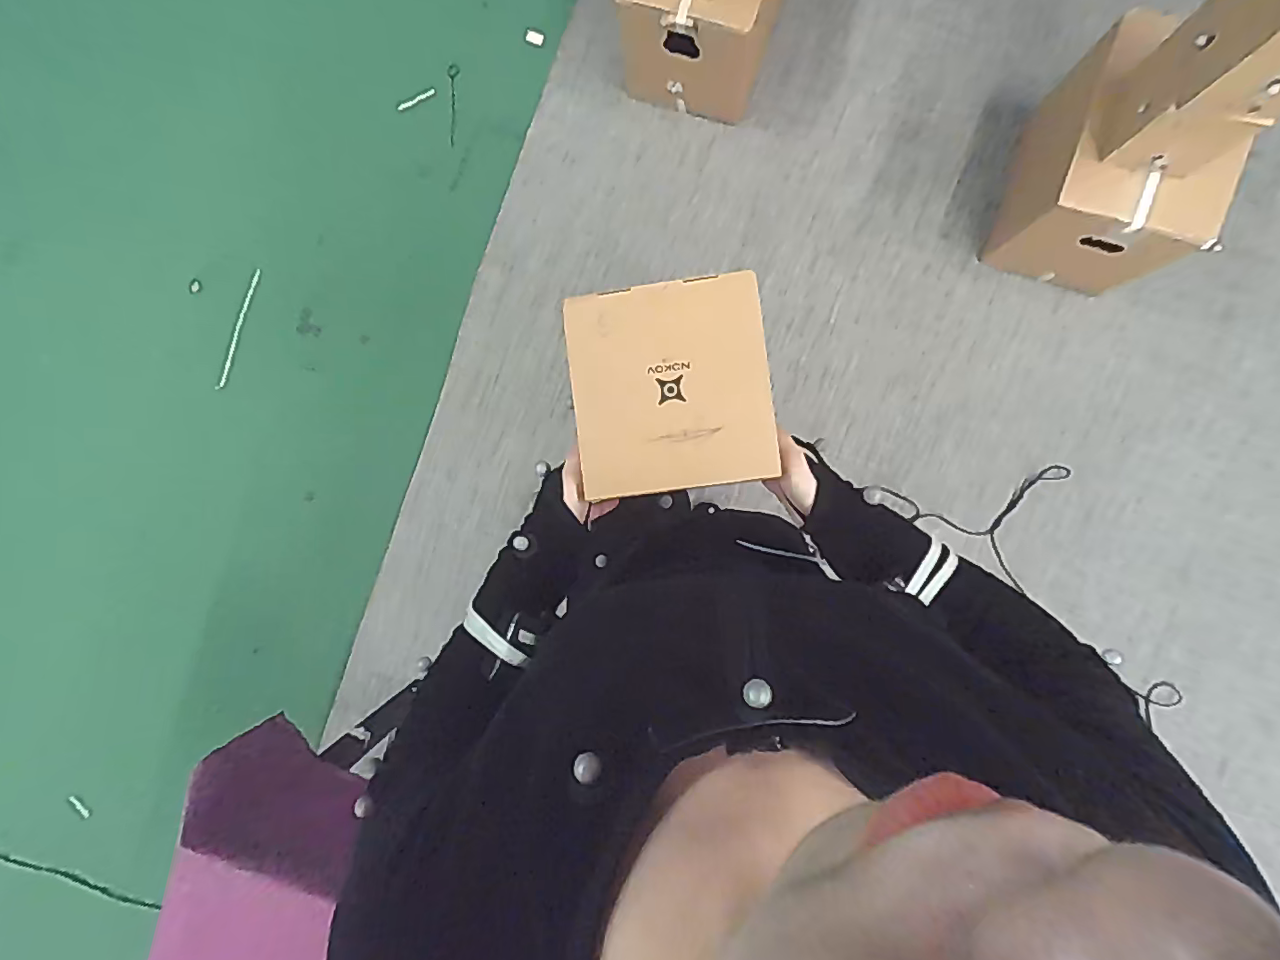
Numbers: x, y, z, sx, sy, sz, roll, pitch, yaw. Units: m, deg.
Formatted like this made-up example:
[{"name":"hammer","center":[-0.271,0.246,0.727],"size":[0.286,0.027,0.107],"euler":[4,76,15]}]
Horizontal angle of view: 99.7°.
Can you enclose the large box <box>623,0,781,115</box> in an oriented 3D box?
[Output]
[{"name":"large box","center":[0.177,-1.204,1.313],"size":[0.320,0.320,0.408],"euler":[19,92,6]}]

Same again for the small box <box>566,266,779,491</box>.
[{"name":"small box","center":[0.030,-0.083,0.533],"size":[0.168,0.176,0.179],"euler":[-7,89,4]}]

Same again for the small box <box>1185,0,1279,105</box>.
[{"name":"small box","center":[1.003,-0.715,0.826],"size":[0.168,0.176,0.179],"euler":[11,93,7]}]
